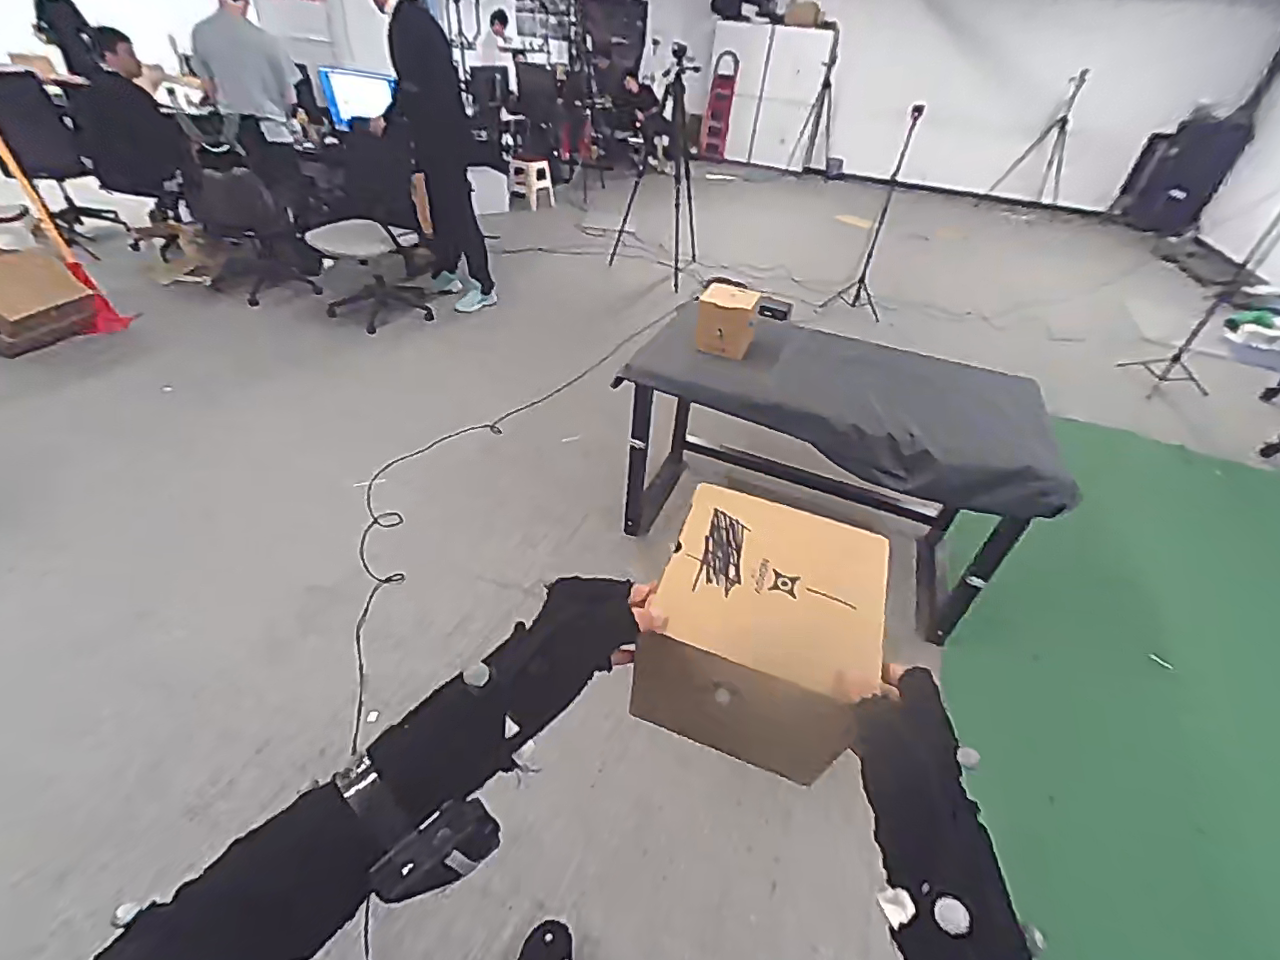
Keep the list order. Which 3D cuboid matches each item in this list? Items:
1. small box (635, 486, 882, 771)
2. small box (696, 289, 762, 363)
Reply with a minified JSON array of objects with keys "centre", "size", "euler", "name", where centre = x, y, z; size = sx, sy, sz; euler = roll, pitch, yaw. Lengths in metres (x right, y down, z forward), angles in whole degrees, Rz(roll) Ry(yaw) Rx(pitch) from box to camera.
[{"centre":[0.101,0.138,0.500],"size":[0.179,0.176,0.168],"euler":[17,47,12],"name":"small box"},{"centre":[0.287,-0.500,1.765],"size":[0.168,0.176,0.179],"euler":[17,41,15],"name":"small box"}]
